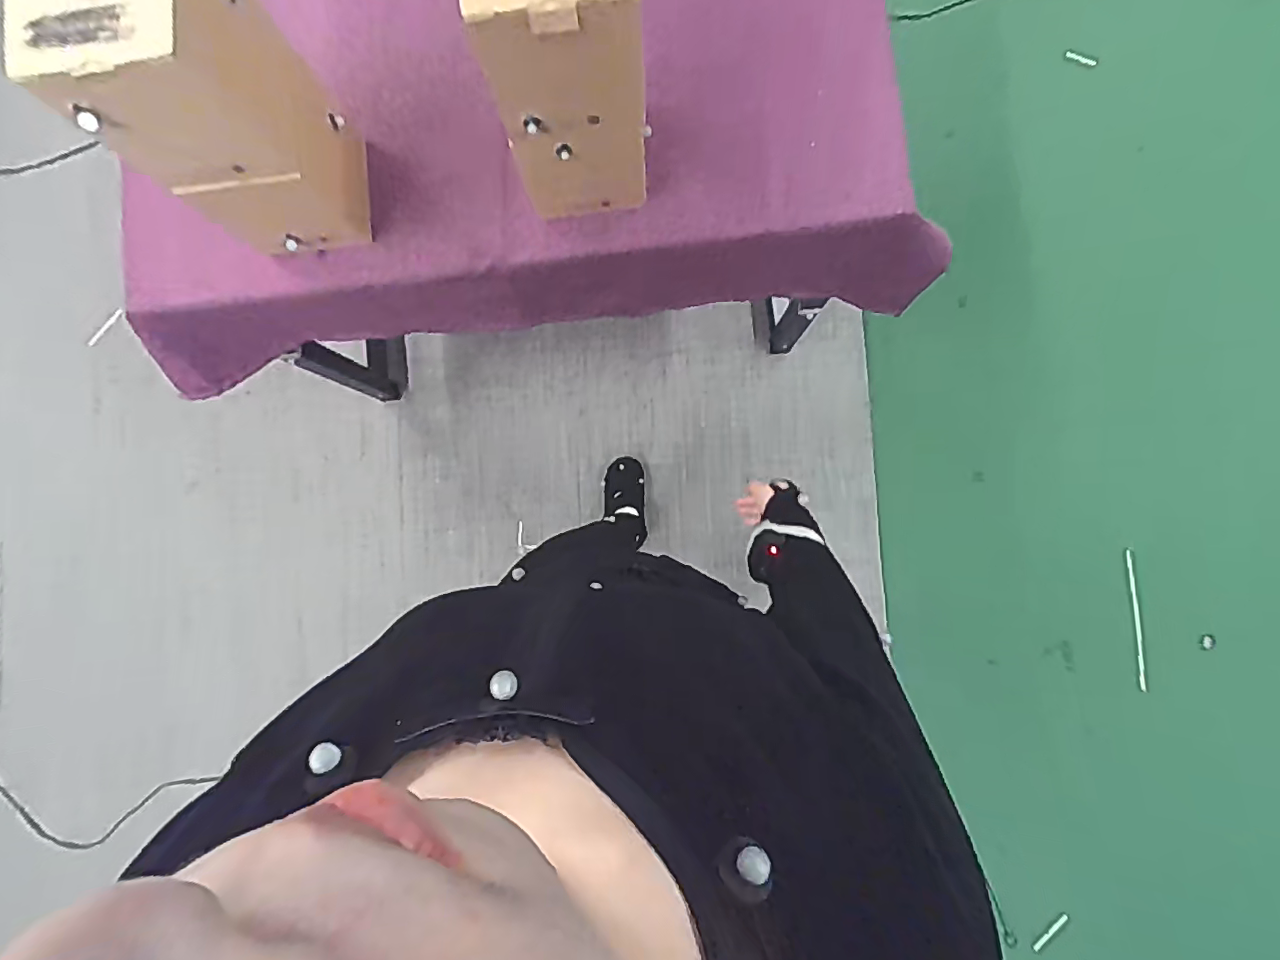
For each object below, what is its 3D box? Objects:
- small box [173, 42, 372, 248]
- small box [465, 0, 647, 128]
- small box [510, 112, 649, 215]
[{"bbox_3d":[-0.496,-0.451,0.752,0.168,0.176,0.179,-5,87,2],"label":"small box"},{"bbox_3d":[-0.083,-0.509,0.575,0.168,0.176,0.179,-7,86,2],"label":"small box"},{"bbox_3d":[-0.078,-0.498,0.739,0.168,0.176,0.179,-6,86,3],"label":"small box"}]
